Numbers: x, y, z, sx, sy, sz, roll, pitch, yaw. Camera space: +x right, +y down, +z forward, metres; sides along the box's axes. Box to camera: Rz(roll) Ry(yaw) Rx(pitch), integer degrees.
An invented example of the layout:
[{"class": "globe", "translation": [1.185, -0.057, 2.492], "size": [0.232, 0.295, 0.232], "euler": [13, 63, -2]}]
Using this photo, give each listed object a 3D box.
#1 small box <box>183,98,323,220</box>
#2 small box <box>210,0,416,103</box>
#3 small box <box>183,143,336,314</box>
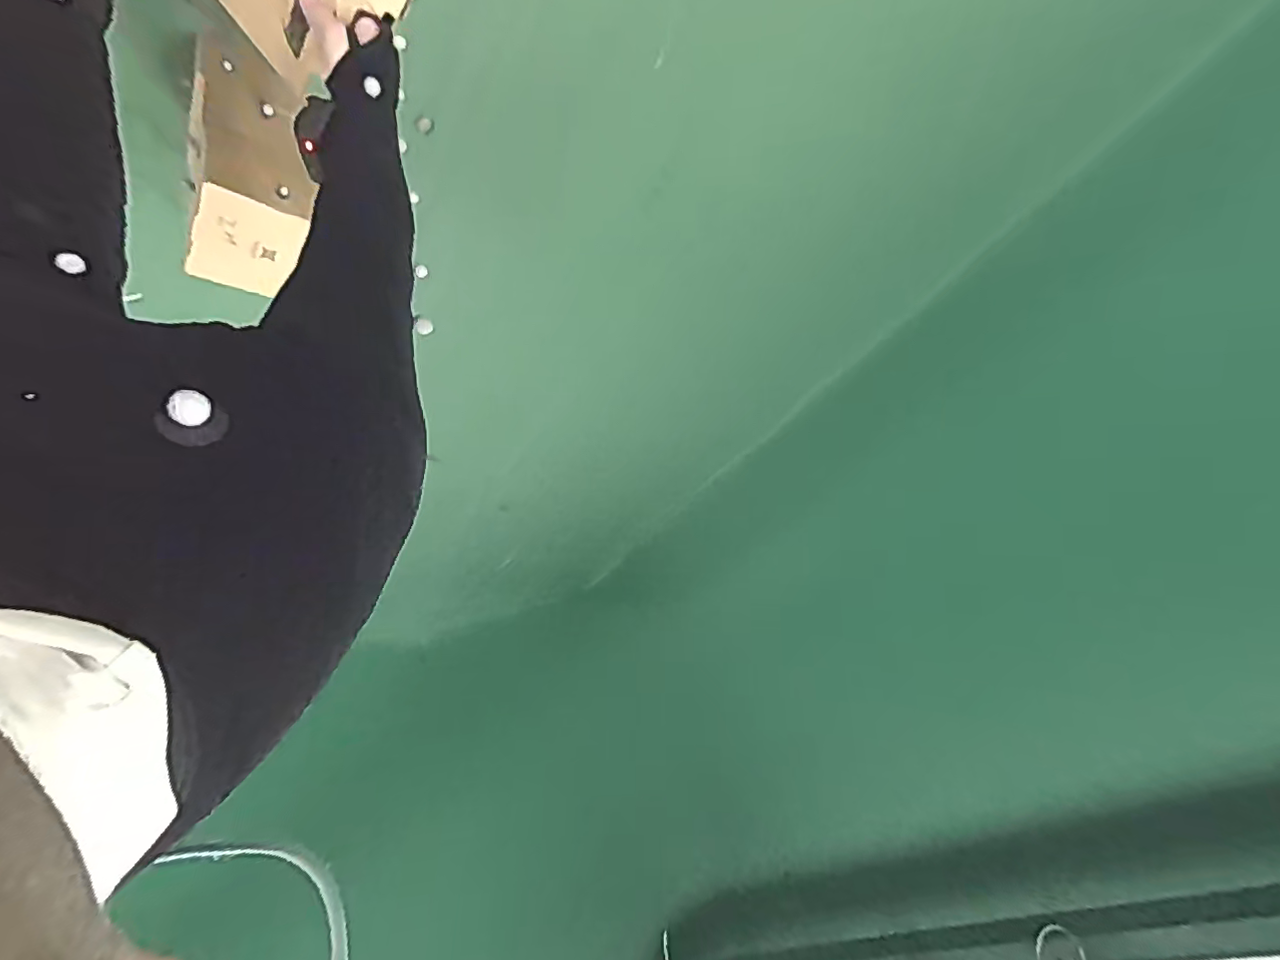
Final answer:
[{"class": "small box", "translation": [-0.700, -0.546, 0.980], "size": [0.179, 0.176, 0.168], "euler": [8, 139, -43]}, {"class": "small box", "translation": [-0.419, -0.645, 0.686], "size": [0.168, 0.176, 0.179], "euler": [-42, 150, 25]}, {"class": "small box", "translation": [-0.635, -0.415, 0.902], "size": [0.179, 0.176, 0.168], "euler": [8, 137, -45]}]
